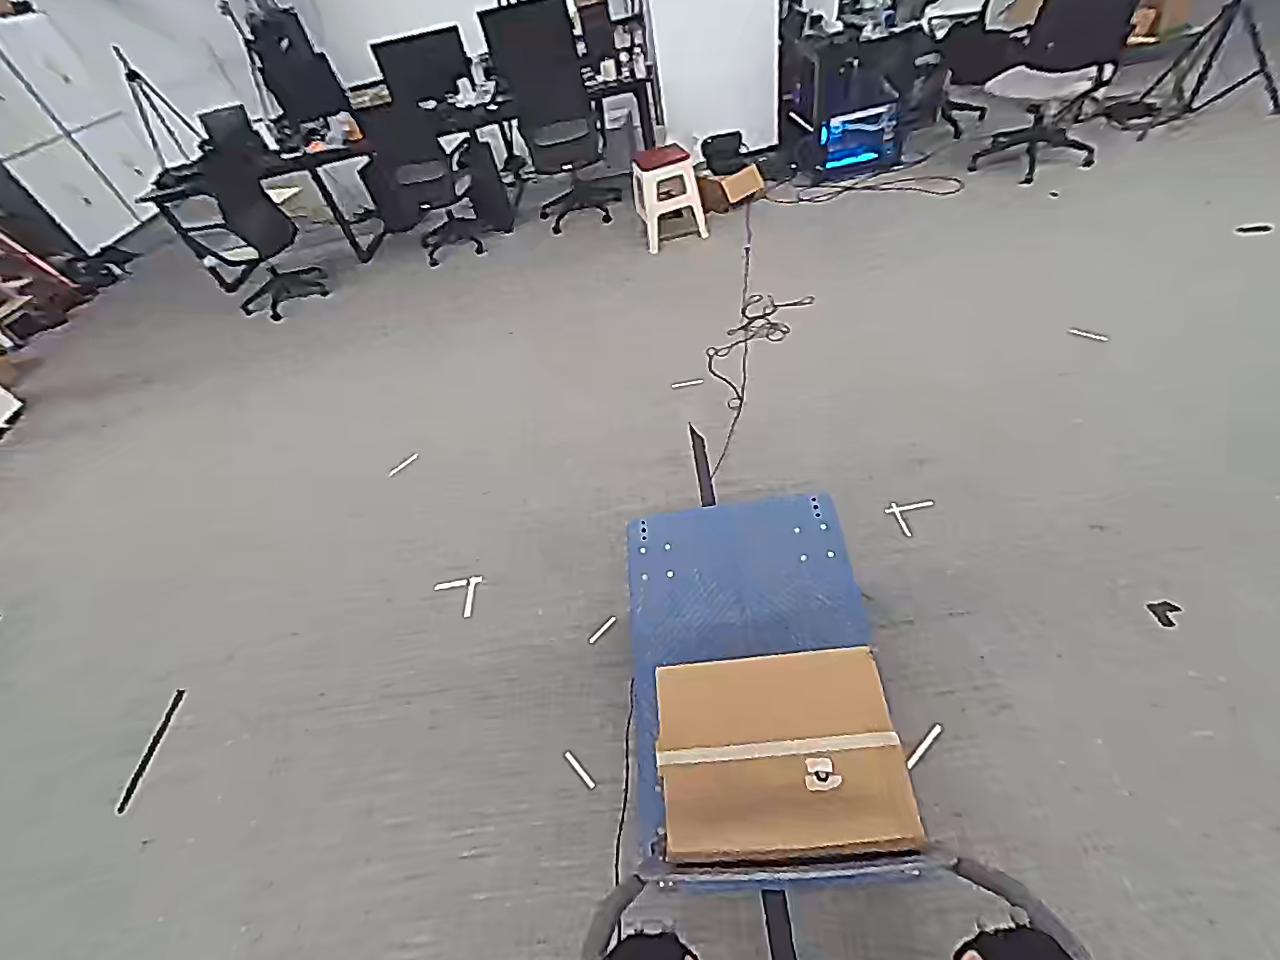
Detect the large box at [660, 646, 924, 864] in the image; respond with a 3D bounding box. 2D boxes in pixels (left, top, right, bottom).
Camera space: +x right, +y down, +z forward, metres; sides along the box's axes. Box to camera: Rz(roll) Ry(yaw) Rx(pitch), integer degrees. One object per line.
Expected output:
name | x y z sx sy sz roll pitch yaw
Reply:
large box | 0.268 0.549 1.074 0.408 0.320 0.320 -9 58 6
